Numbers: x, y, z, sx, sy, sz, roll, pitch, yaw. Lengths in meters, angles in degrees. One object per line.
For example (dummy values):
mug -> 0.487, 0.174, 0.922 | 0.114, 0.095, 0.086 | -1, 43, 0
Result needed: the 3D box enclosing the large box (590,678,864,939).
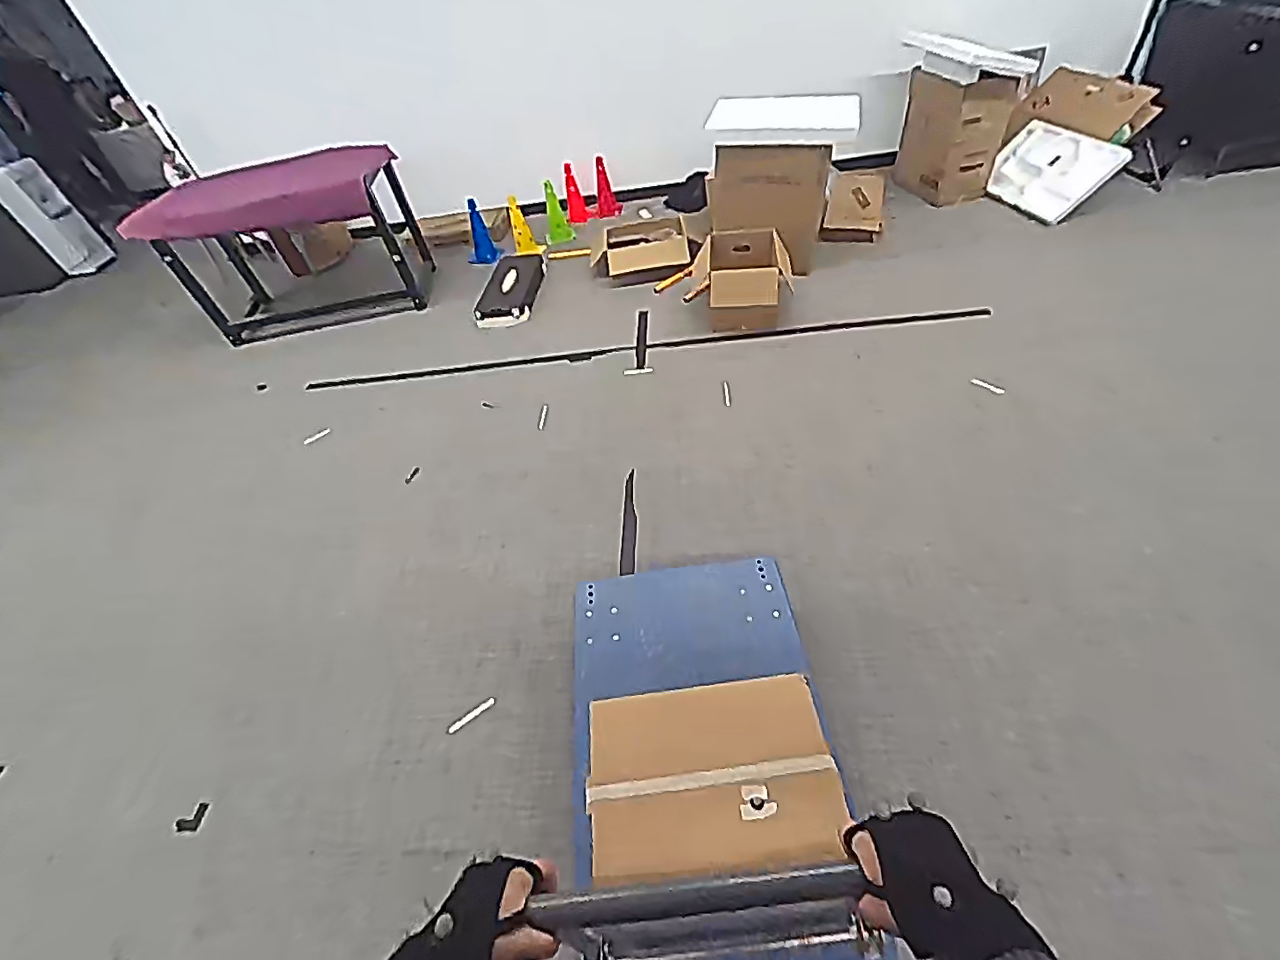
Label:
large box -> 0.134, 0.605, 0.995 | 0.408, 0.320, 0.320 | -8, 46, 1
